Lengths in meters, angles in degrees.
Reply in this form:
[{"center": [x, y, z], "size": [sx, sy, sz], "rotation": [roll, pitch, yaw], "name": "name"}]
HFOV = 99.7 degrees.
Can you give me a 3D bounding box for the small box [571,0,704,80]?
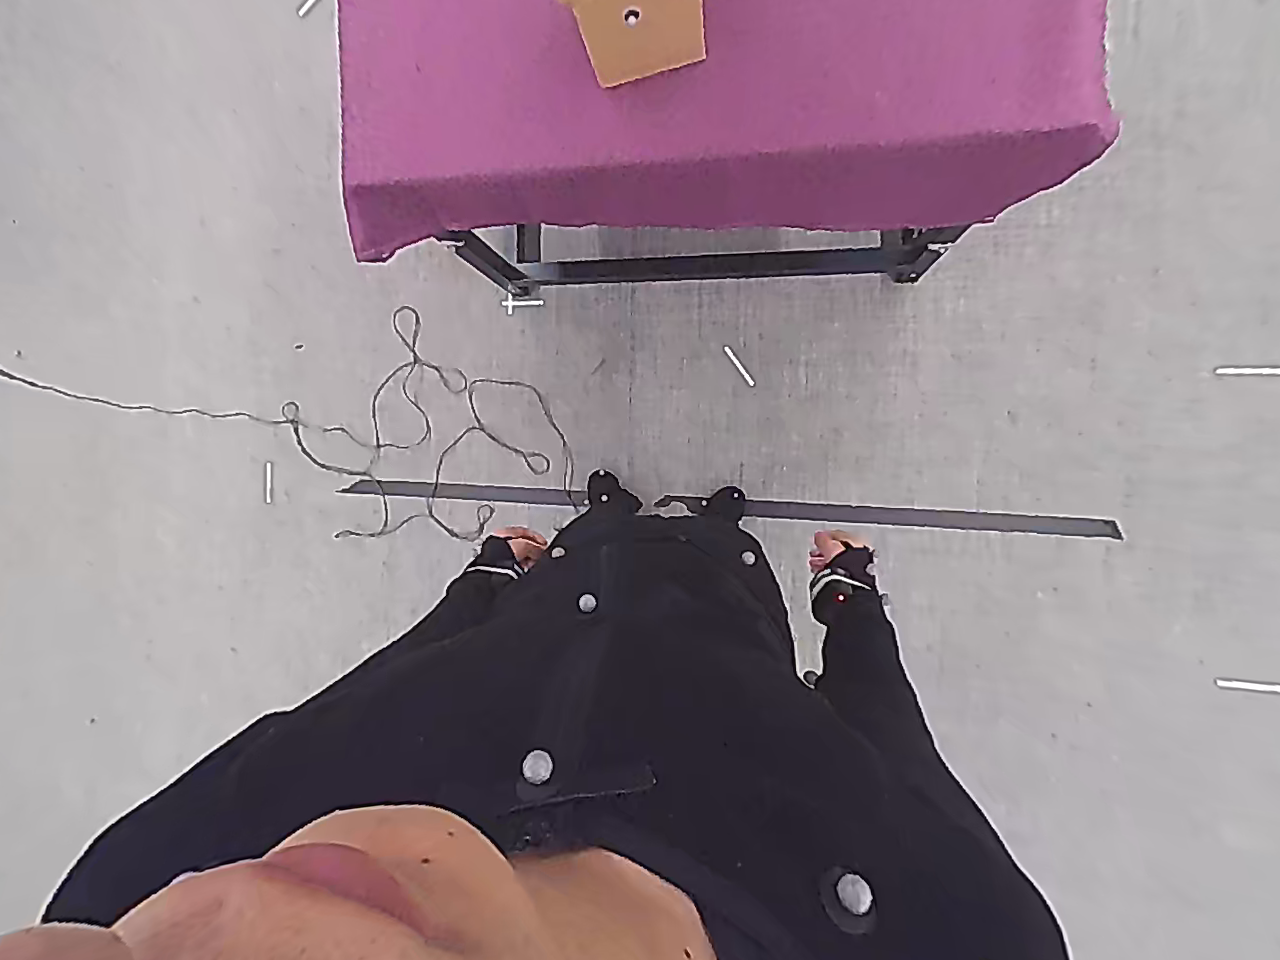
[{"center": [-0.006, -0.736, 0.793], "size": [0.179, 0.176, 0.168], "rotation": [-9, 90, 9], "name": "small box"}]
